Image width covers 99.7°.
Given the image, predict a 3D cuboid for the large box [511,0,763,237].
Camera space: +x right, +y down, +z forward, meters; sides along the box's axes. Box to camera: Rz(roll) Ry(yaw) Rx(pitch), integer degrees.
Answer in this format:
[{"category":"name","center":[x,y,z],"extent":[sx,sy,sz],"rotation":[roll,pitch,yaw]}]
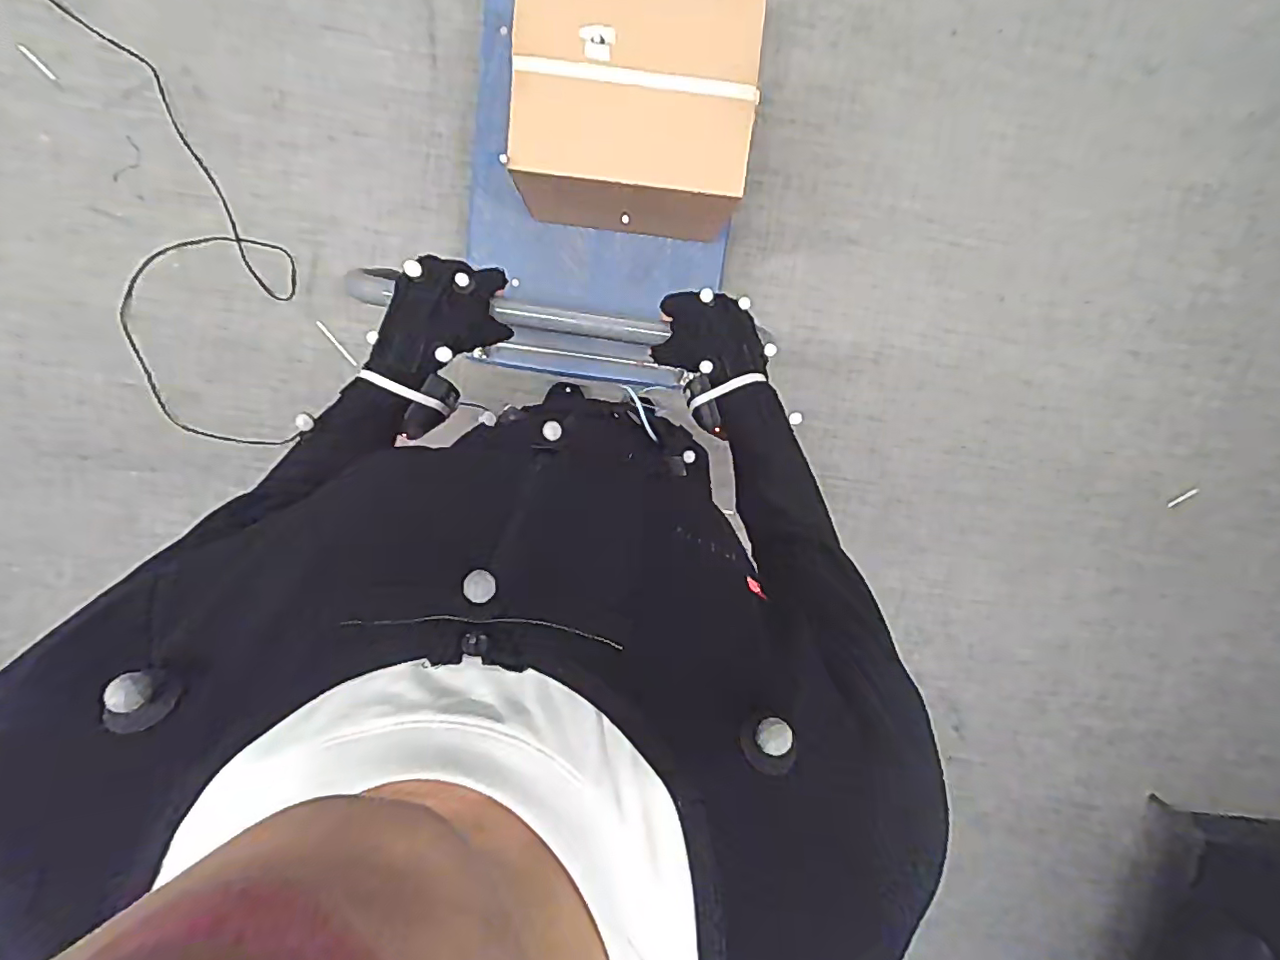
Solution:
[{"category":"large box","center":[-0.009,-0.683,1.045],"extent":[0.408,0.320,0.320],"rotation":[6,99,-2]}]
